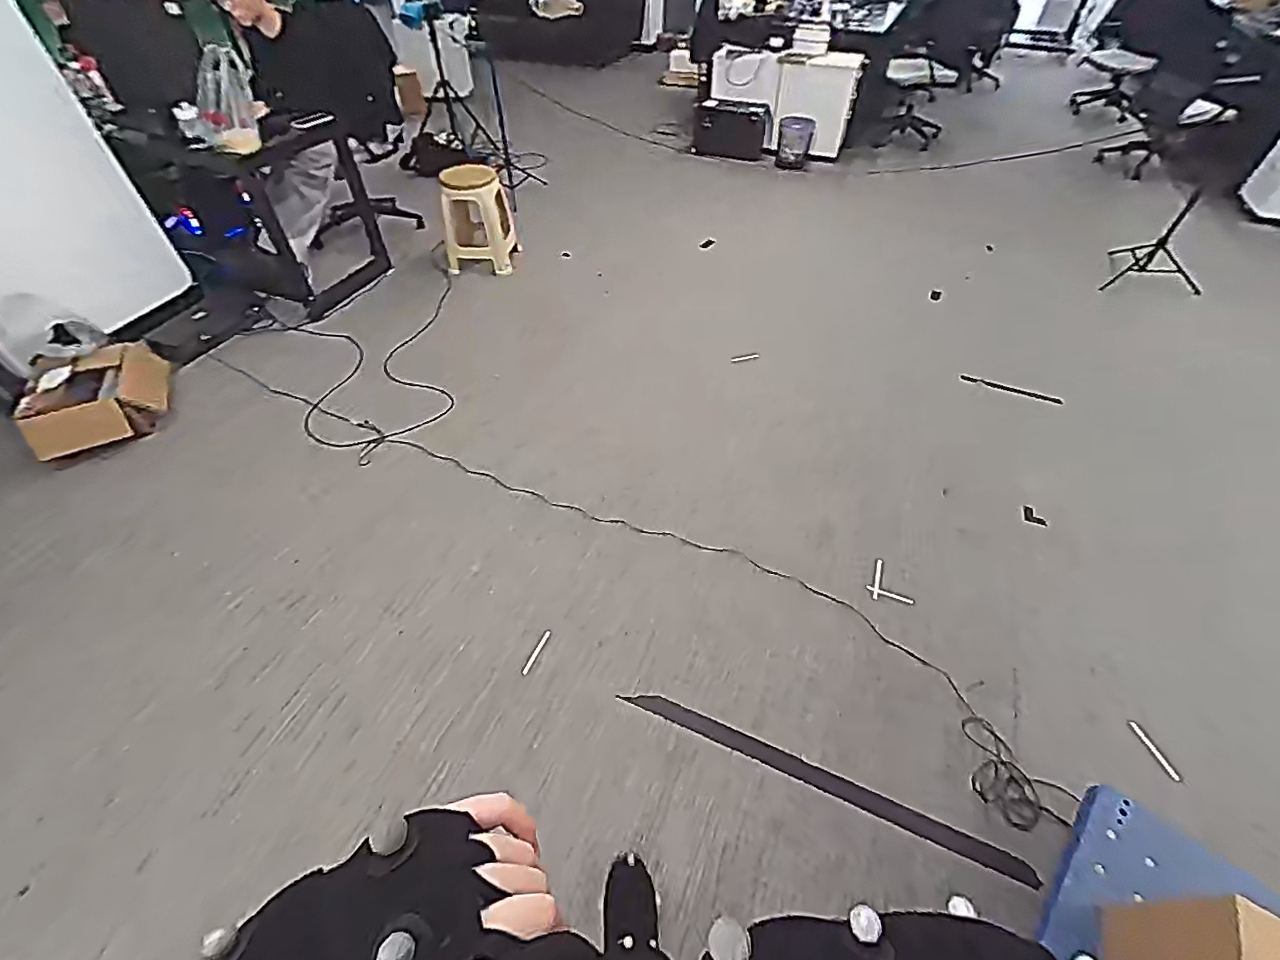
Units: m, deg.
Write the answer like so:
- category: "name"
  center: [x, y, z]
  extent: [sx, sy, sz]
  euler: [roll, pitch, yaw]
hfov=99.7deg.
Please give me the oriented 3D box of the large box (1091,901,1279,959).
- category: "large box"
  center: [0.950, 0.895, 0.763]
  extent: [0.408, 0.320, 0.320]
  euler: [27, 55, 20]
